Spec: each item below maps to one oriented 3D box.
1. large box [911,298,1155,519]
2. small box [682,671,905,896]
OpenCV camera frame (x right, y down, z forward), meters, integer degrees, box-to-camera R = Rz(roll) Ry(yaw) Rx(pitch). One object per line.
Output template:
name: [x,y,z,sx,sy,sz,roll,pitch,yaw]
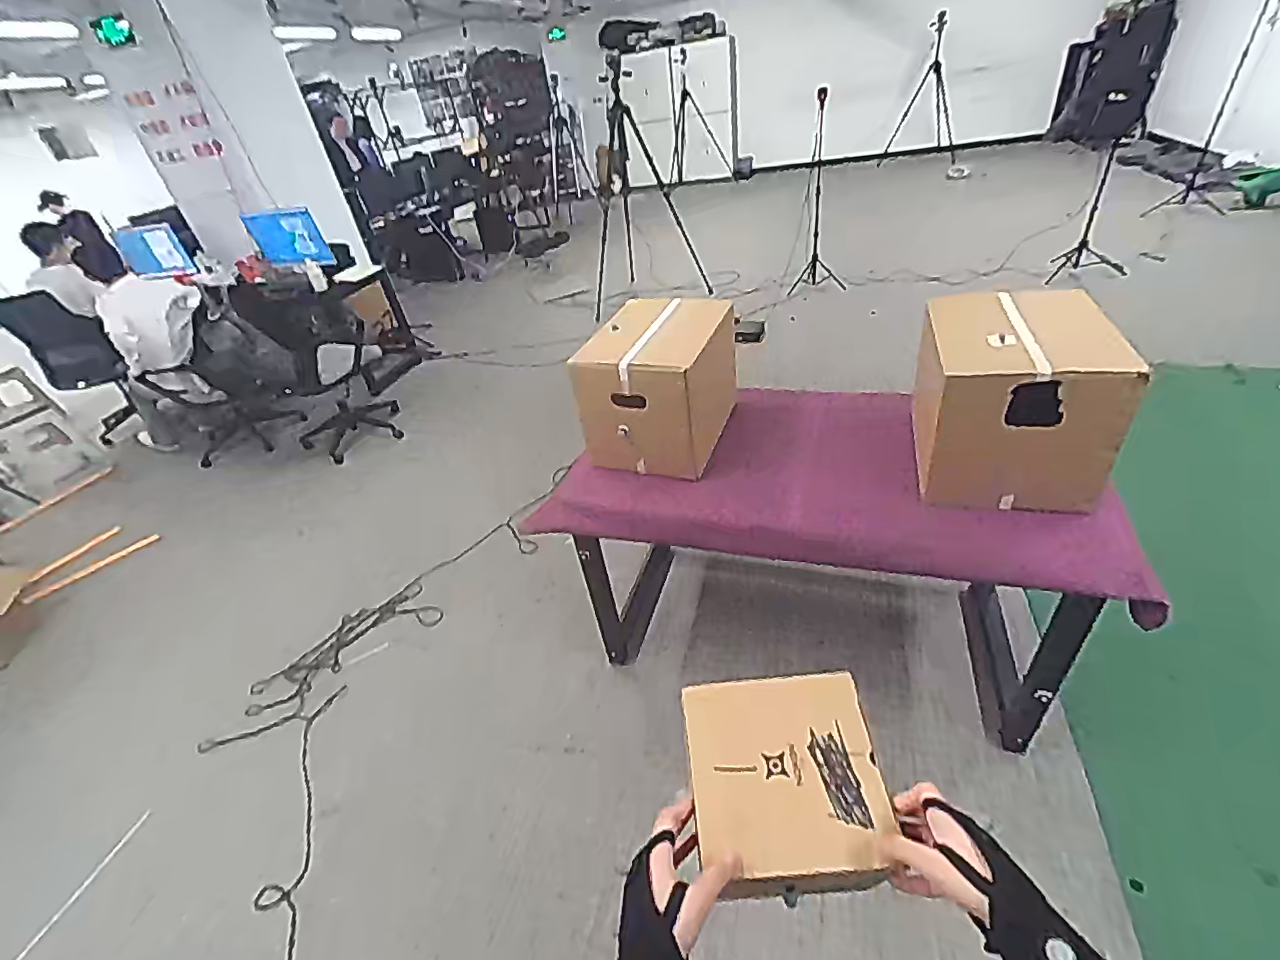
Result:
large box: [0.793,-0.167,1.177,0.320,0.320,0.408,2,38,21]
small box: [0.137,0.315,0.558,0.179,0.176,0.168,-5,46,2]
